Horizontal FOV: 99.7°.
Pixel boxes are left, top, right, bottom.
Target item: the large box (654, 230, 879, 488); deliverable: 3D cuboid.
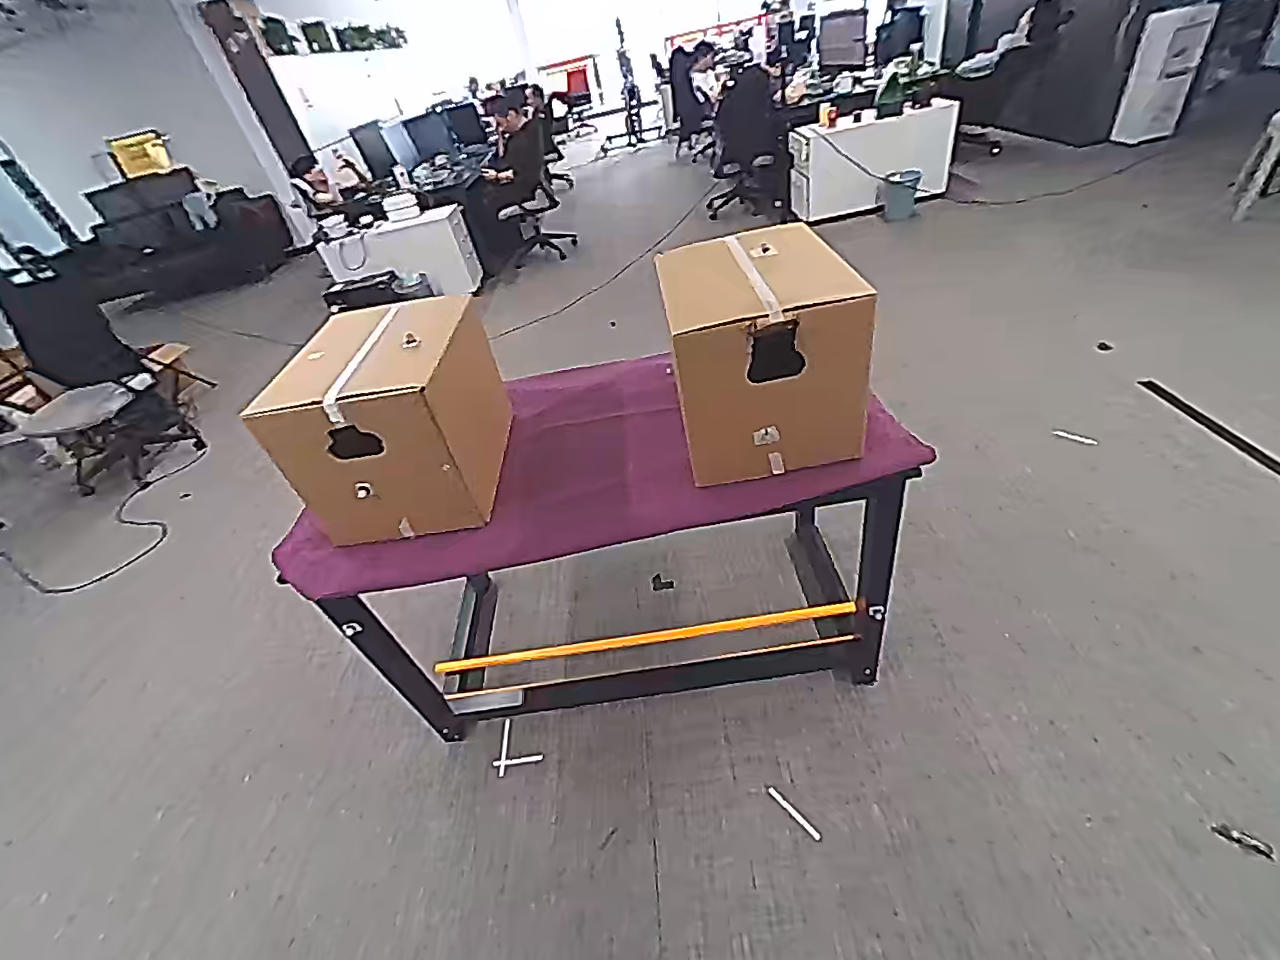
[{"bbox_3d":[0.220,-0.243,1.044,0.320,0.320,0.408,-10,38,4],"label":"large box"}]
